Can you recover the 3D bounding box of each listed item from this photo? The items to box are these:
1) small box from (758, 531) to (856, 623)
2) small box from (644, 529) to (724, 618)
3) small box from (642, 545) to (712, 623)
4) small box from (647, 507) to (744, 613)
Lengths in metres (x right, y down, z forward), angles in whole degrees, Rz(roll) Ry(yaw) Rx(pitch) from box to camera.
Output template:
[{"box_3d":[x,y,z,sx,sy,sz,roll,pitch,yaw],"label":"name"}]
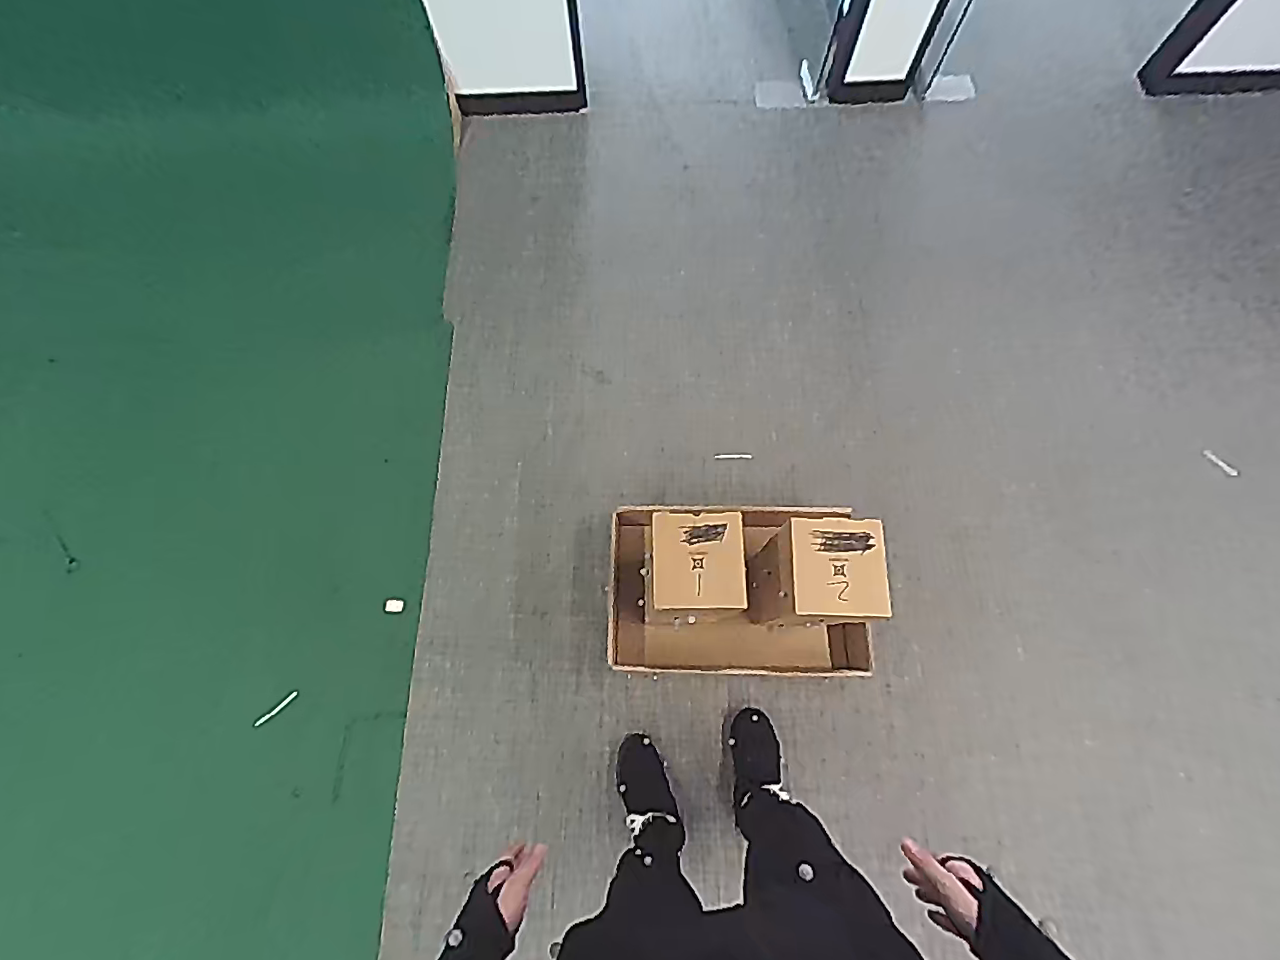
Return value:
[{"box_3d":[0.357,0.217,1.190,0.168,0.176,0.179,0,71,2],"label":"small box"},{"box_3d":[0.094,0.211,1.193,0.168,0.176,0.179,0,71,0],"label":"small box"},{"box_3d":[0.089,0.261,1.346,0.168,0.176,0.179,1,72,0],"label":"small box"},{"box_3d":[0.099,0.159,1.037,0.168,0.176,0.179,0,72,0],"label":"small box"}]
